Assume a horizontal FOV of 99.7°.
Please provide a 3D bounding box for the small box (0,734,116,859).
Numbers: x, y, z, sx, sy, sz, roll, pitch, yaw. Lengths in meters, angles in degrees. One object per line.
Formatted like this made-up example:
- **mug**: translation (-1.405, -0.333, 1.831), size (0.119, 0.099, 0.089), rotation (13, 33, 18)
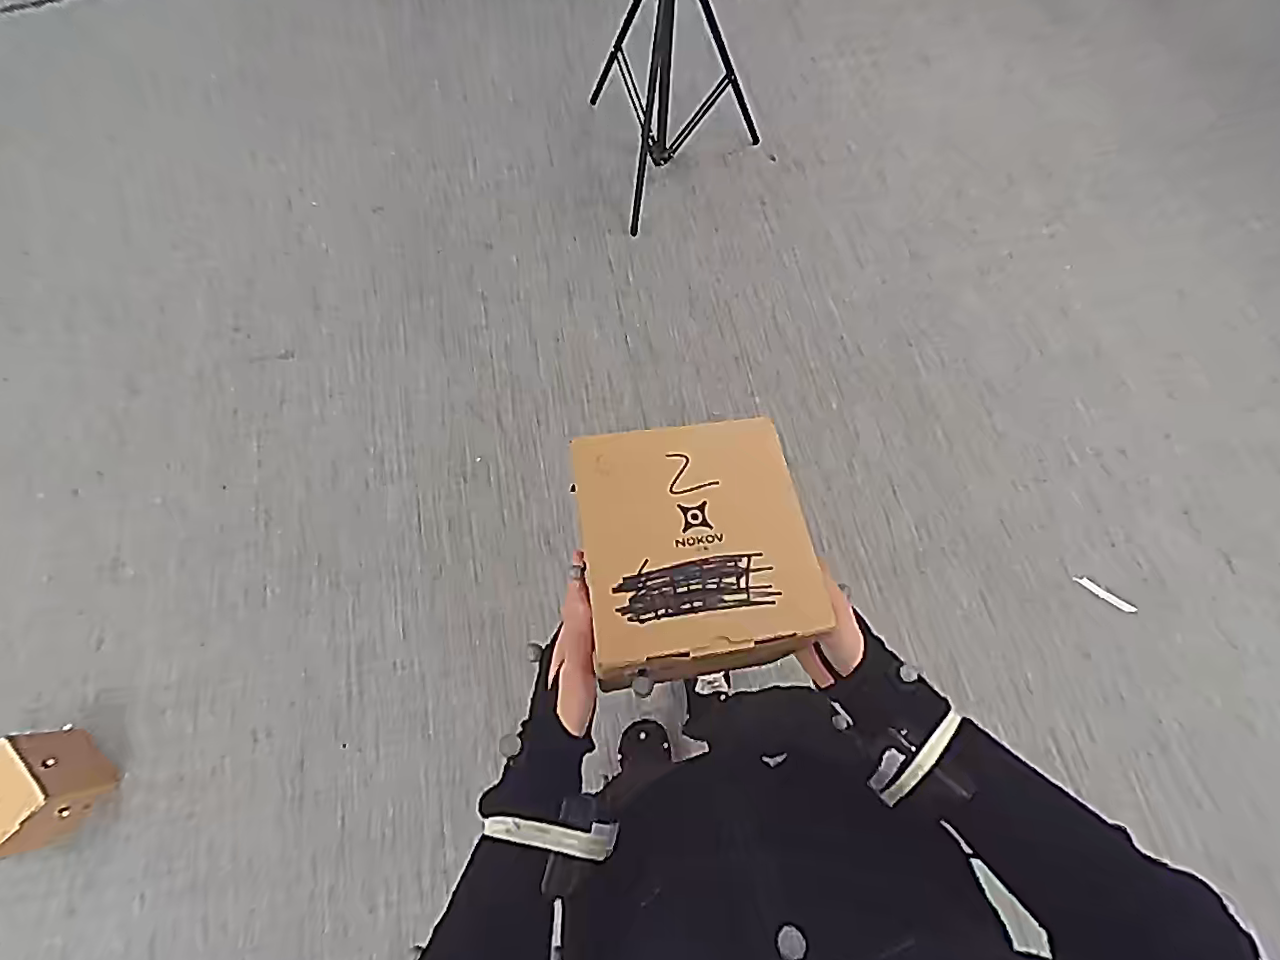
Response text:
- **small box**: translation (-1.299, 0.668, 1.156), size (0.179, 0.176, 0.168), rotation (40, 74, 13)
